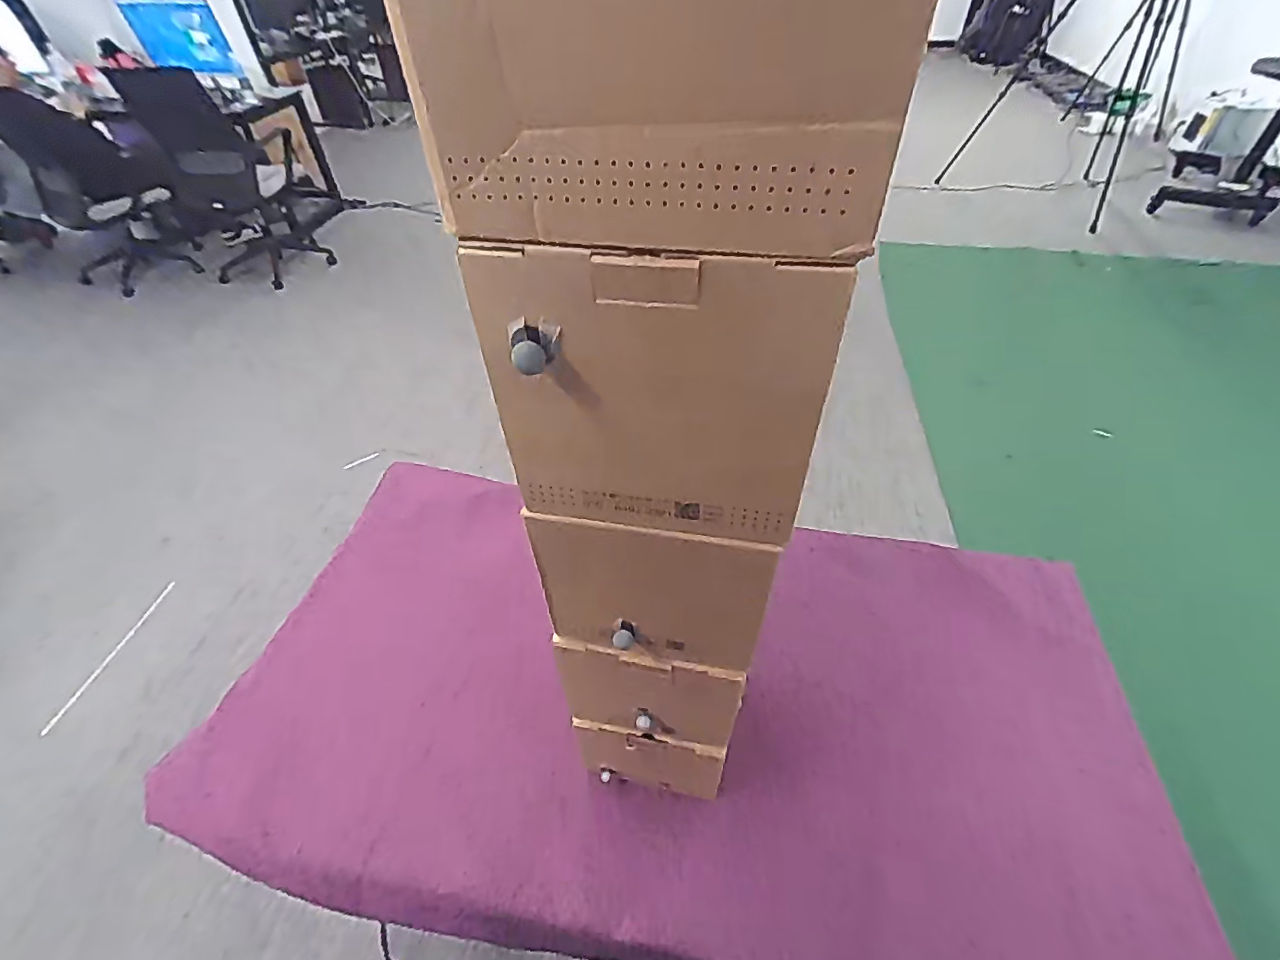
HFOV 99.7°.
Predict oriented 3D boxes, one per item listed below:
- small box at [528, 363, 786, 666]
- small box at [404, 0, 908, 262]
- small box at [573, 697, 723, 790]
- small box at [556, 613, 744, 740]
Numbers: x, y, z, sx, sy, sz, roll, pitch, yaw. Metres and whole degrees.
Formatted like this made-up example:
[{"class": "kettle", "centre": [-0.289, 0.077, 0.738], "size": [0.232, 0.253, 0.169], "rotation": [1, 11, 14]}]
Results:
[{"class": "small box", "centre": [0.023, 0.027, 0.455], "size": [0.168, 0.176, 0.179], "rotation": [8, 47, 10]}, {"class": "small box", "centre": [0.013, -0.206, 0.226], "size": [0.179, 0.176, 0.168], "rotation": [8, 45, 9]}, {"class": "small box", "centre": [0.027, 0.263, 0.681], "size": [0.168, 0.176, 0.179], "rotation": [8, 46, 10]}, {"class": "small box", "centre": [0.024, 0.143, 0.569], "size": [0.168, 0.176, 0.179], "rotation": [8, 47, 10]}]
